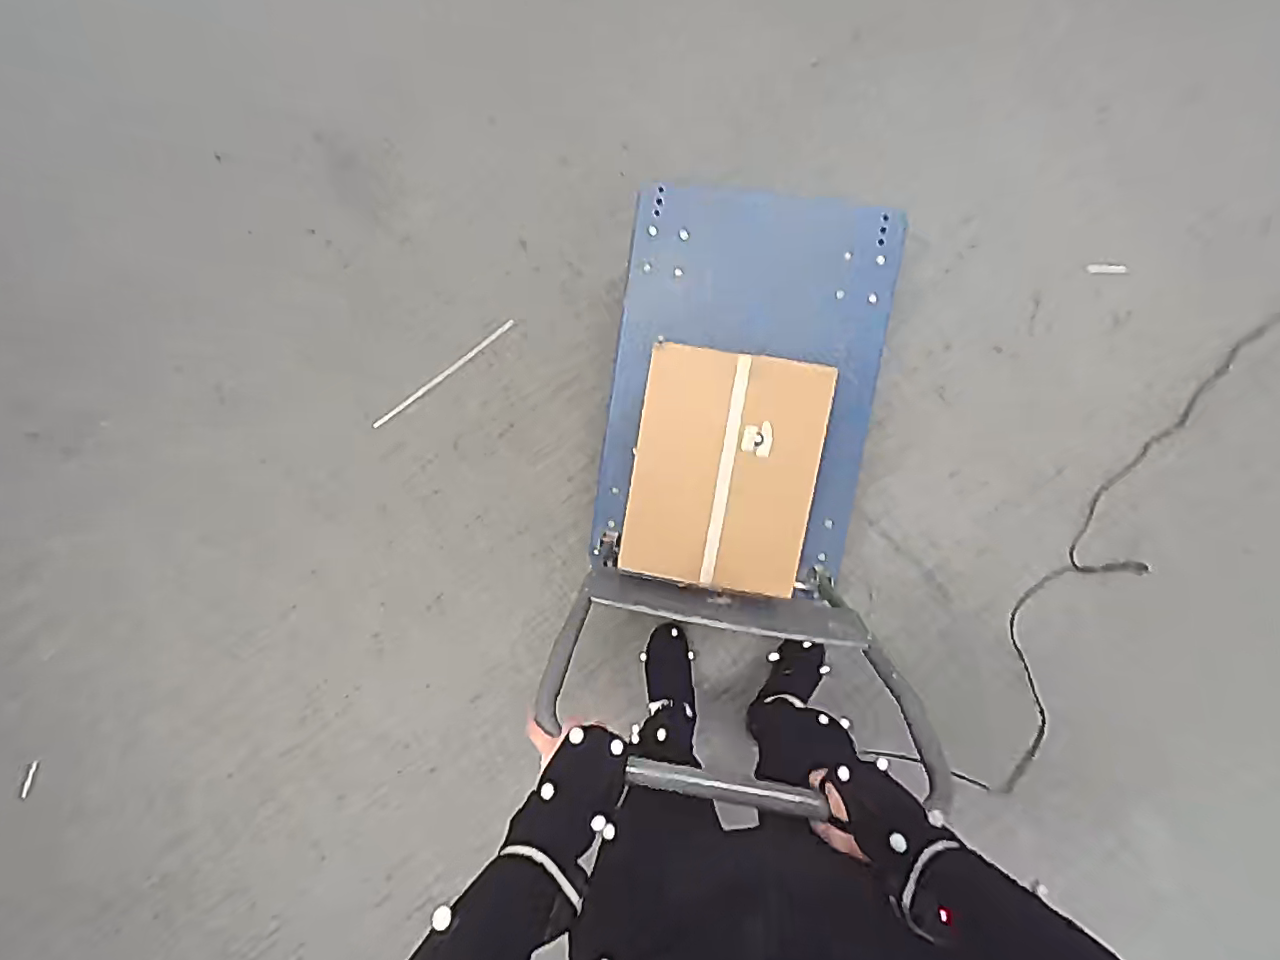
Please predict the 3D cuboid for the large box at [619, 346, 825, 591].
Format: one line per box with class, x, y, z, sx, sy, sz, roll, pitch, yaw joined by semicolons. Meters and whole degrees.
large box;0.153;-0.029;1.102;0.320;0.320;0.408;10;96;3
